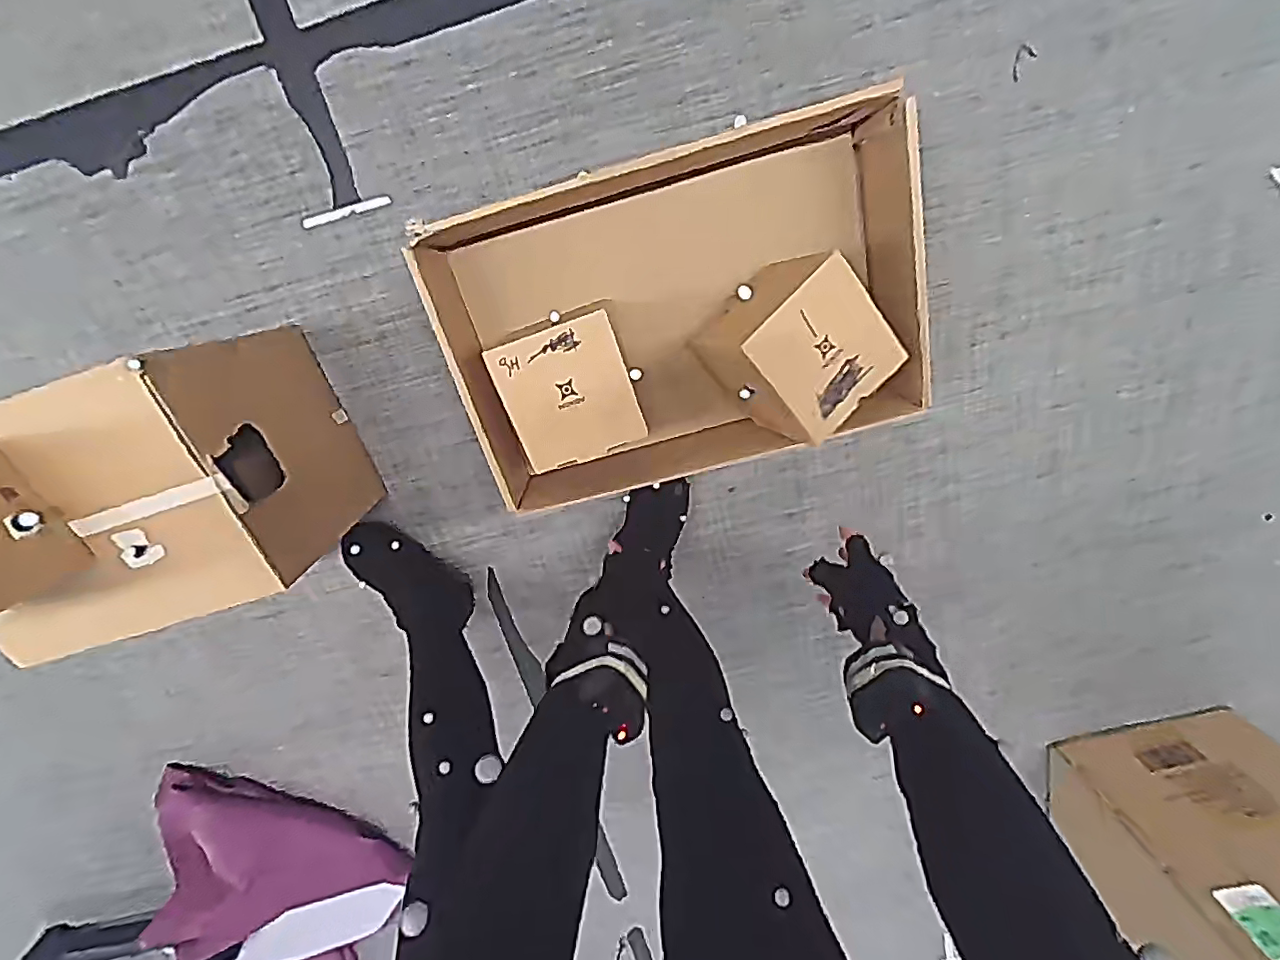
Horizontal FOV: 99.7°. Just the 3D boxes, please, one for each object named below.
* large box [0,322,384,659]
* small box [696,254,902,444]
[{"bbox_3d":[-0.680,-0.007,0.790,0.408,0.320,0.320,-17,112,5],"label":"large box"},{"bbox_3d":[0.209,-0.179,0.745,0.168,0.176,0.179,-45,111,-1],"label":"small box"}]
